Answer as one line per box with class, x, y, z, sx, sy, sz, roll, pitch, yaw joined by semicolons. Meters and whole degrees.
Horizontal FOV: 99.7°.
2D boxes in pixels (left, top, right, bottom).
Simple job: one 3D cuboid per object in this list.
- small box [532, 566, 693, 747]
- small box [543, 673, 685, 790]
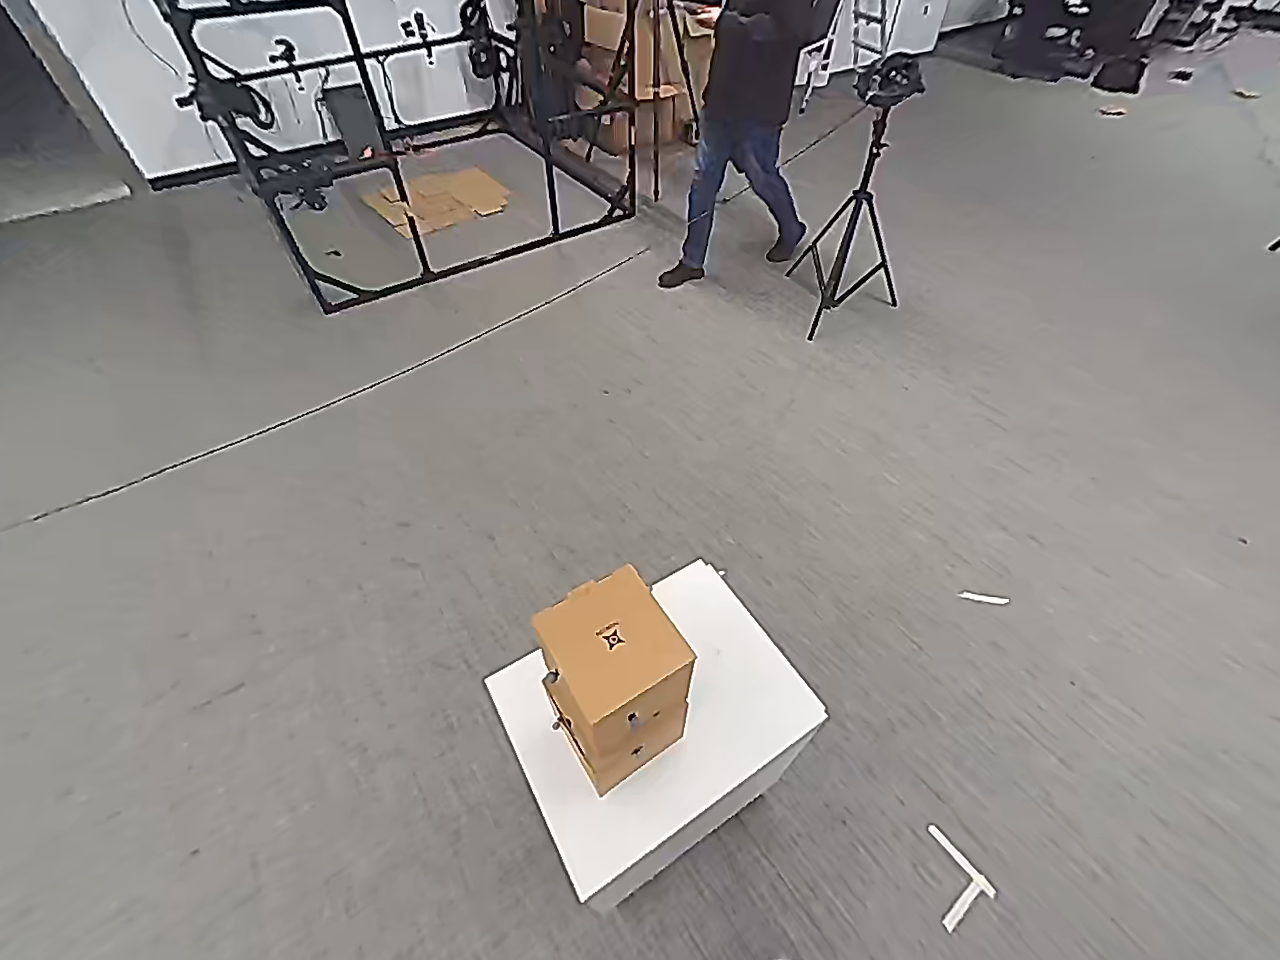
small box;-0.039;0.268;0.802;0.168;0.176;0.179;-26;53;-21
small box;-0.042;0.387;0.913;0.179;0.176;0.168;-26;54;-22
